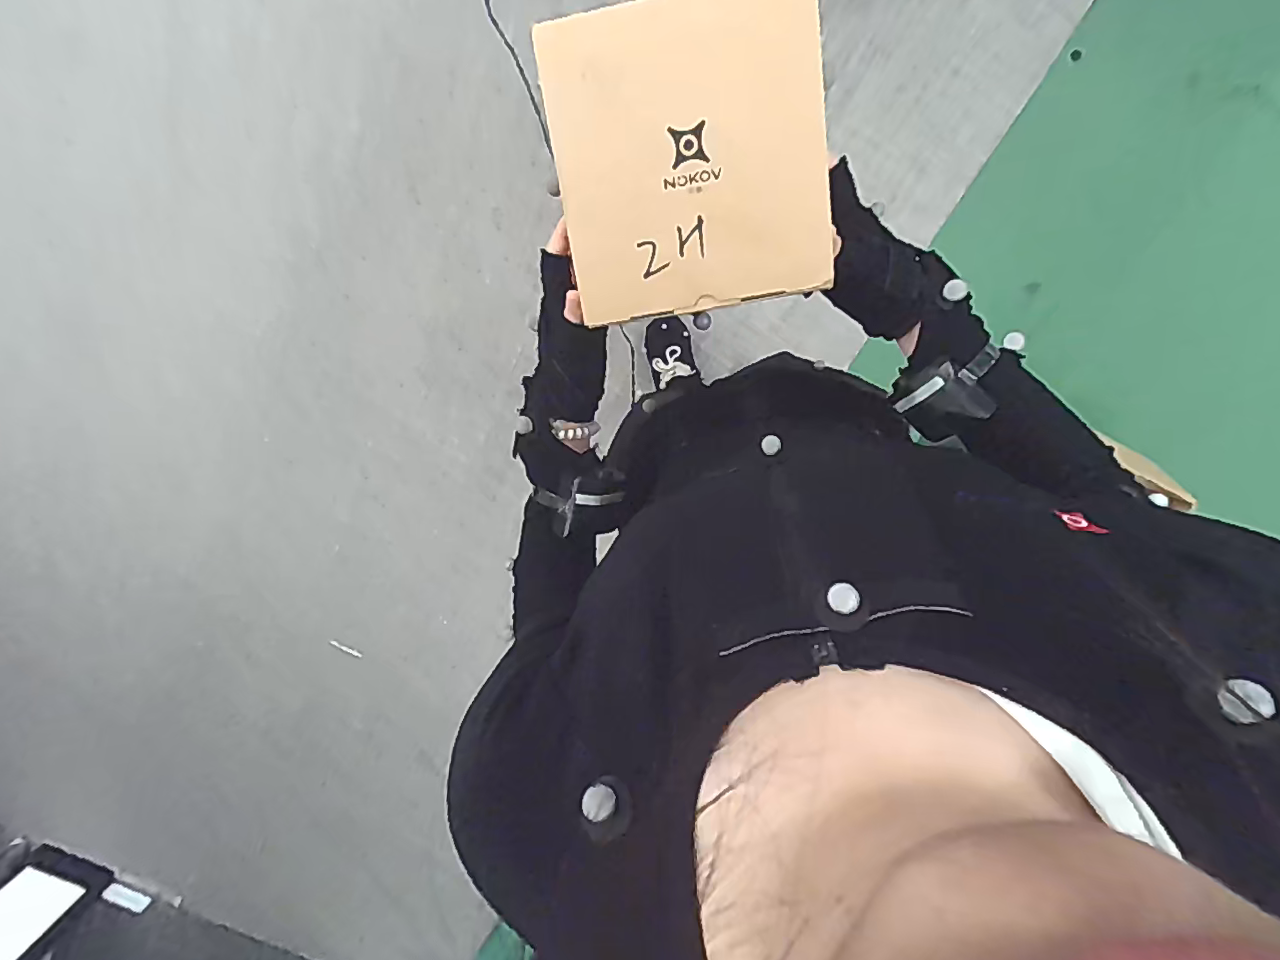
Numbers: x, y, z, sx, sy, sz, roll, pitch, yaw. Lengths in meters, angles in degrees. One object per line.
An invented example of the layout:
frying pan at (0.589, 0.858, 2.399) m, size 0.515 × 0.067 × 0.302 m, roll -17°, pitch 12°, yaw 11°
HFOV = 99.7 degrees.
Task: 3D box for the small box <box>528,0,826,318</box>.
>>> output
small box at (0.031, -0.221, 0.404) m, size 0.168 × 0.176 × 0.179 m, roll -7°, pitch 107°, yaw 7°
